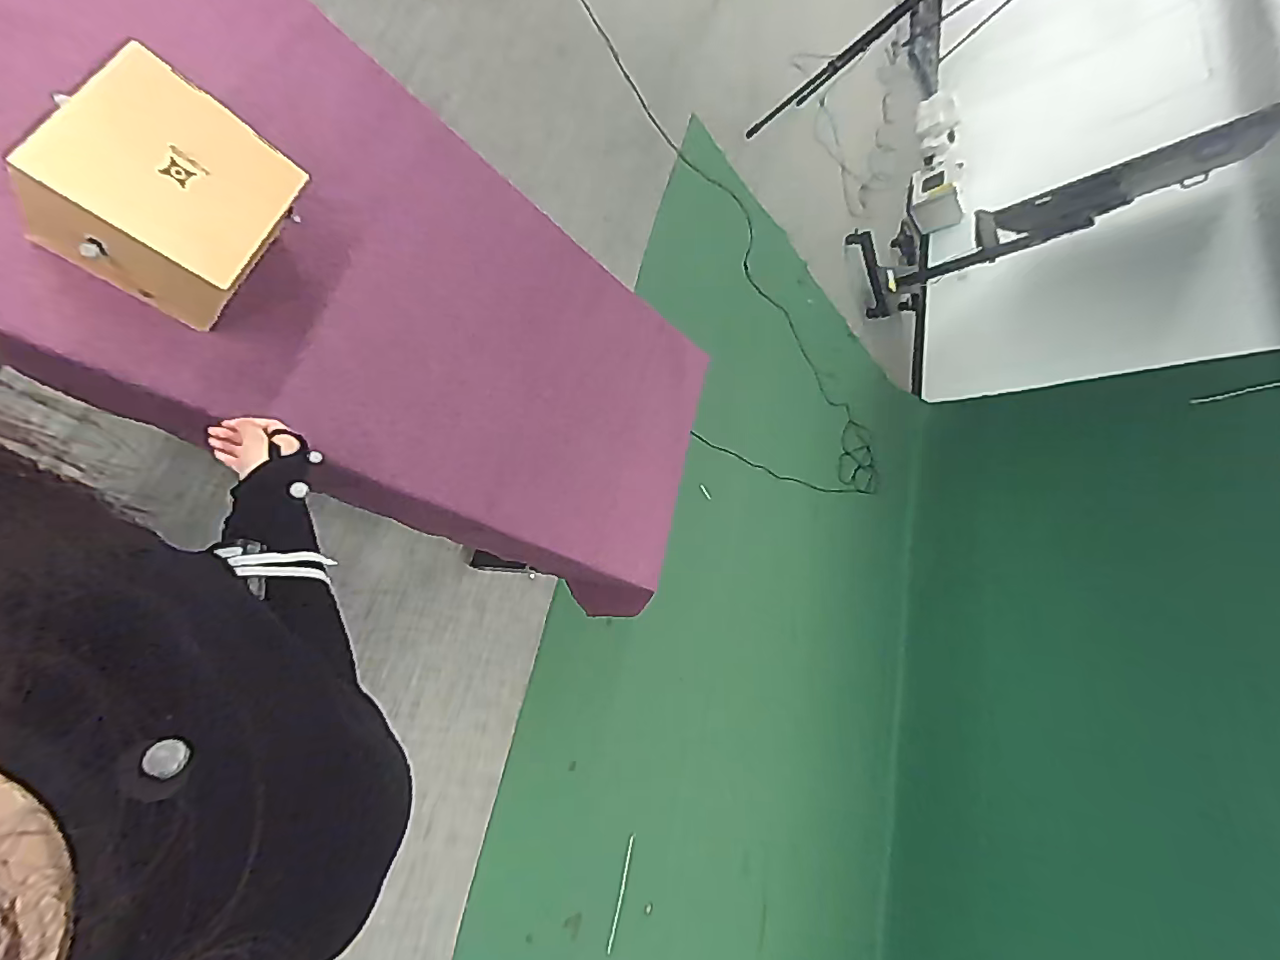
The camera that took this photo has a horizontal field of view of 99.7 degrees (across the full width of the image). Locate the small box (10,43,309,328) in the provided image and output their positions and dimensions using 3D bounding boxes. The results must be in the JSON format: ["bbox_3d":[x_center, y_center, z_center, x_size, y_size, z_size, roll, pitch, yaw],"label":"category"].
[{"bbox_3d":[-0.501,-0.295,0.583,0.168,0.176,0.179,34,61,-37],"label":"small box"}]
